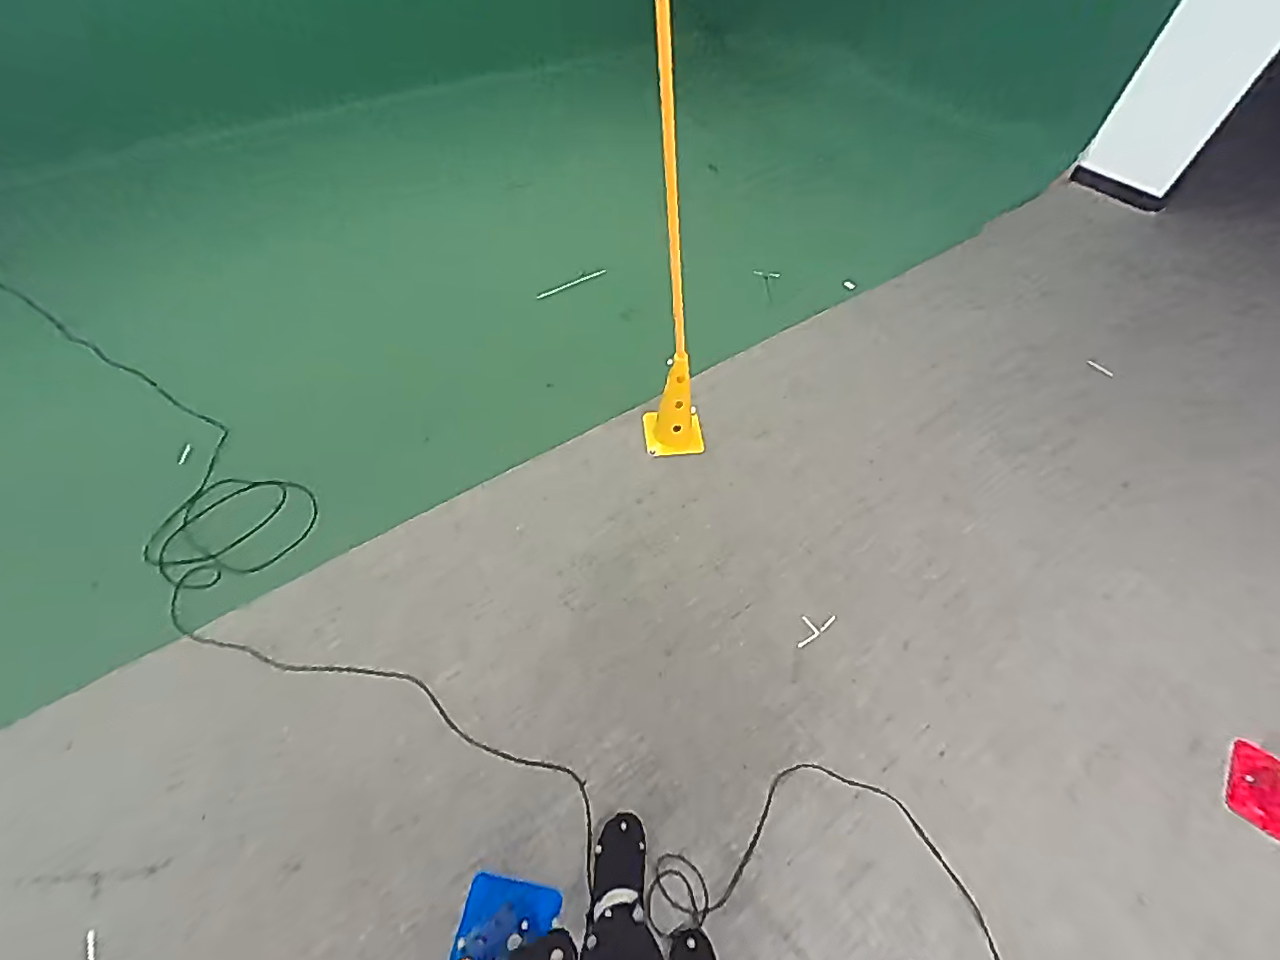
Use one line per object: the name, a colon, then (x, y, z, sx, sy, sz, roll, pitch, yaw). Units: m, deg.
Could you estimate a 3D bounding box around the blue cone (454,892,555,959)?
blue cone: (-0.269, 0.862, 0.949, 0.192, 0.380, 0.193, 9, 56, 4)
